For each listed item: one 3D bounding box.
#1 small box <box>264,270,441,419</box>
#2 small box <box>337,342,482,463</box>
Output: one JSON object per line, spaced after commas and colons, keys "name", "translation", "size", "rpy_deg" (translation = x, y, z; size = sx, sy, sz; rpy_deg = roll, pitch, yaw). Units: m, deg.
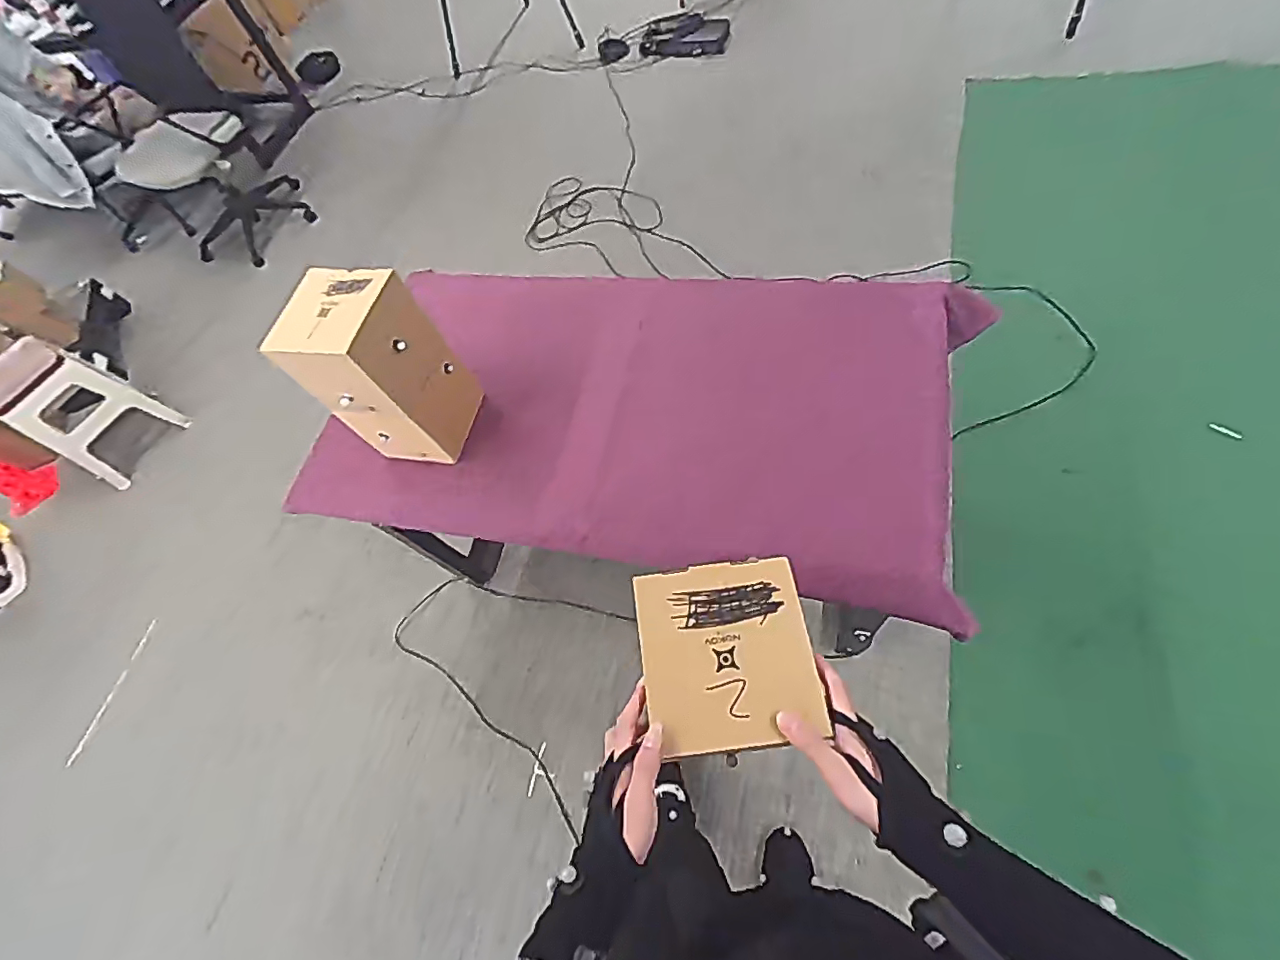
{"name": "small box", "translation": [-0.463, -0.226, 0.907], "size": [0.168, 0.176, 0.179], "rpy_deg": [6, 65, 16]}
{"name": "small box", "translation": [-0.433, -0.148, 1.048], "size": [0.168, 0.176, 0.179], "rpy_deg": [6, 63, 15]}
